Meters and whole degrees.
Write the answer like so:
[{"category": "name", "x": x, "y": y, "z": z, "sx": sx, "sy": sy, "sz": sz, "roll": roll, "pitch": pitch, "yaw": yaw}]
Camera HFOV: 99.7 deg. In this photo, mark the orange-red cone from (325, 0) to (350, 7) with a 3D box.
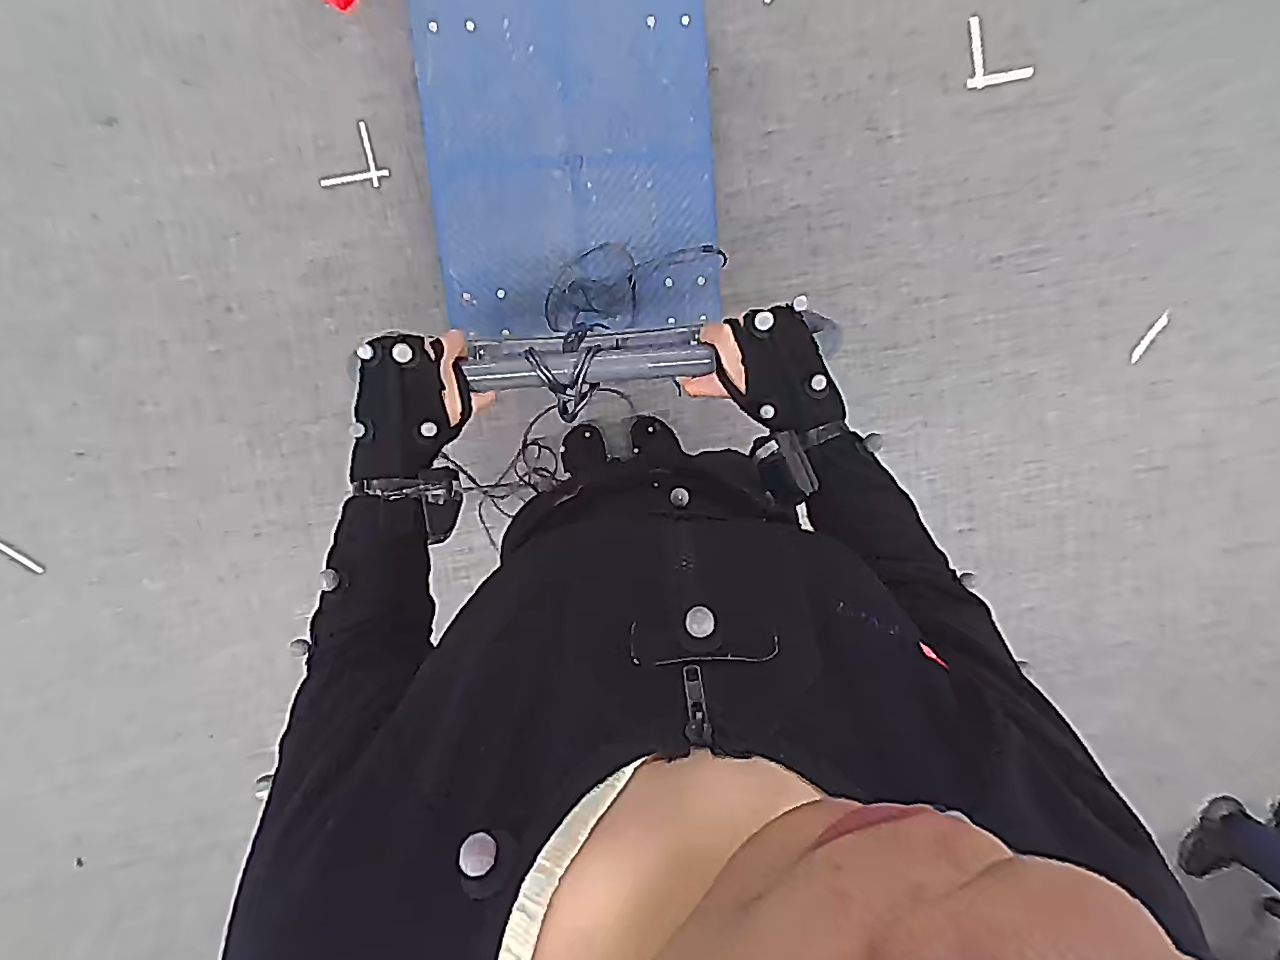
[{"category": "orange-red cone", "x": -0.638, "y": -1.110, "z": 0.965, "sx": 0.198, "sy": 0.360, "sz": 0.199, "roll": 35, "pitch": 92, "yaw": -10}]
